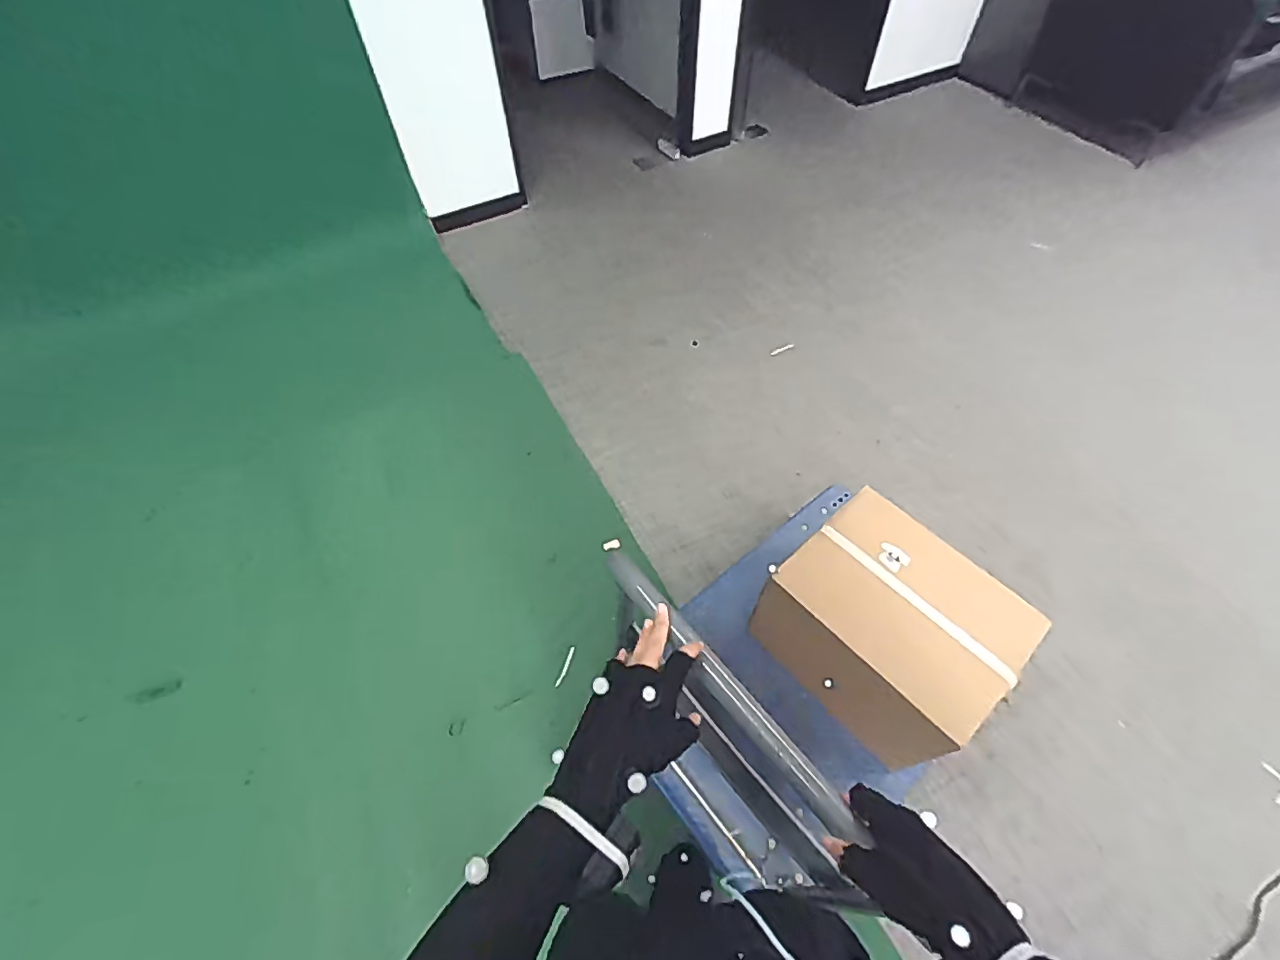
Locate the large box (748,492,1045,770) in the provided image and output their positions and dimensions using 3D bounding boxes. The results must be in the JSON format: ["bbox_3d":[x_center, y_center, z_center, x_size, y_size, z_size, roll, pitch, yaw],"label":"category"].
[{"bbox_3d":[0.489,0.310,1.120,0.320,0.320,0.408,-36,61,-22],"label":"large box"}]
